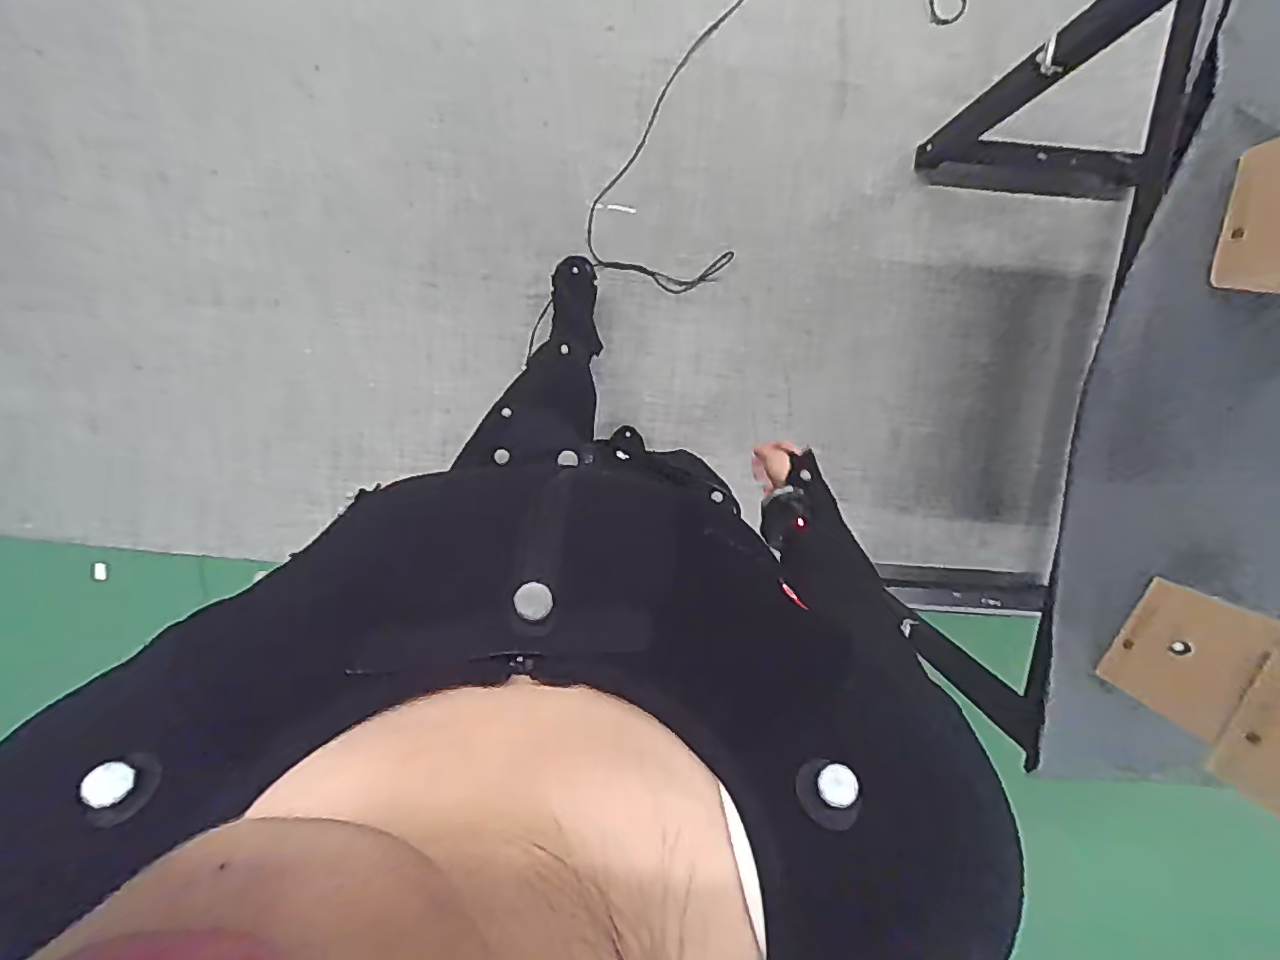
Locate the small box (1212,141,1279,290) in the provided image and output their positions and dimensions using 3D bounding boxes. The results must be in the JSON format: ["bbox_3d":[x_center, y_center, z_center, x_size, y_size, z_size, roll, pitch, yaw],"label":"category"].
[{"bbox_3d":[0.835,-0.315,0.613,0.179,0.176,0.168,4,100,-3],"label":"small box"}]

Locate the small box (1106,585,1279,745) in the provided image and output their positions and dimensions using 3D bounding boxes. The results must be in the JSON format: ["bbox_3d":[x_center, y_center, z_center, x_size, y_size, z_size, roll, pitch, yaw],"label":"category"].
[{"bbox_3d":[0.782,0.257,0.708,0.179,0.176,0.168,24,99,-7],"label":"small box"}]

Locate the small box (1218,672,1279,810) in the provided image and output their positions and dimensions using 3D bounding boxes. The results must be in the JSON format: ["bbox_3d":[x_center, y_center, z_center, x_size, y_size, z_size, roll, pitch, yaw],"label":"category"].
[{"bbox_3d":[0.776,0.303,0.551,0.179,0.176,0.168,19,100,-7],"label":"small box"}]
